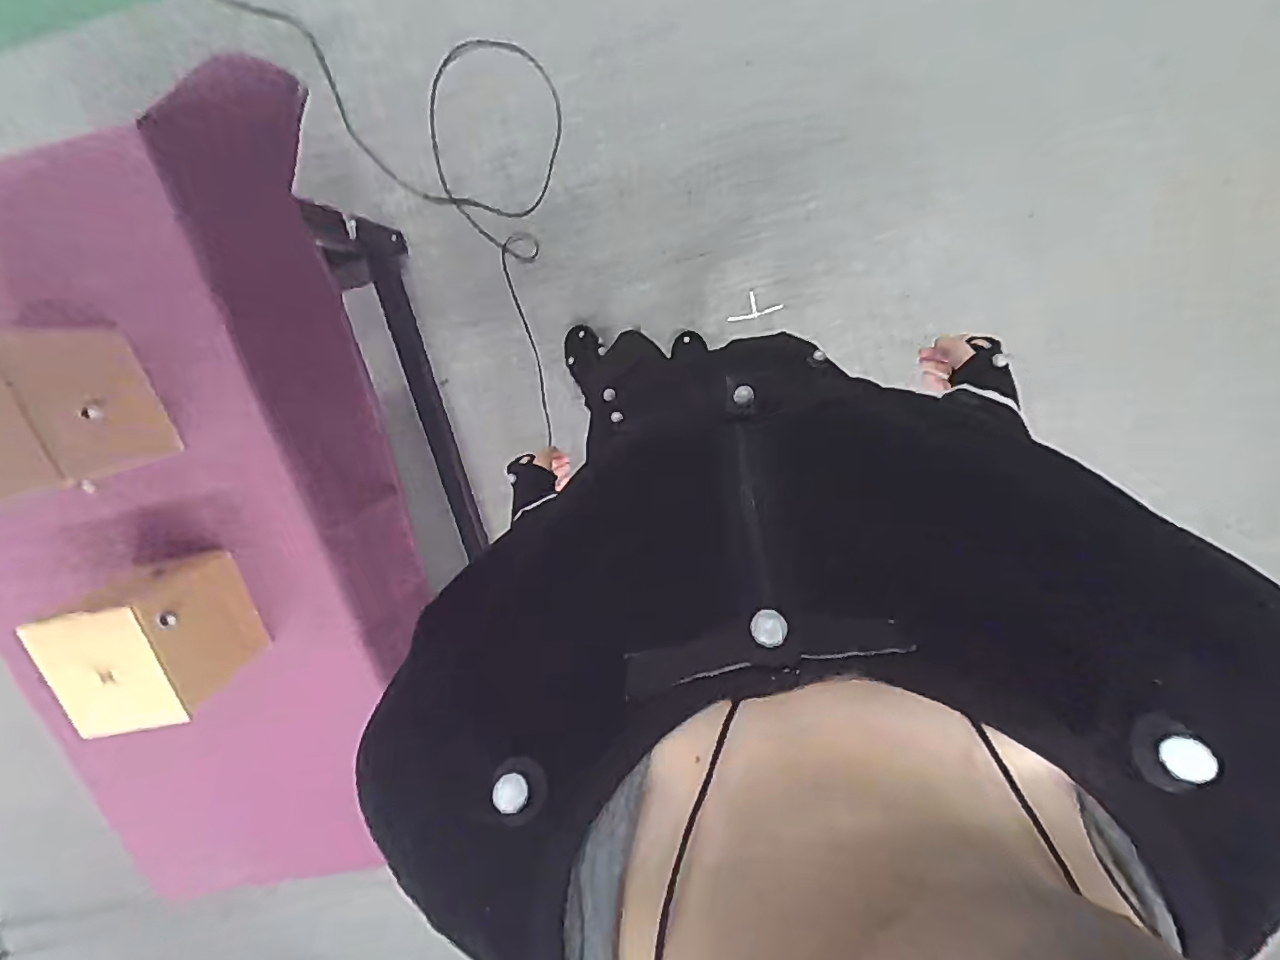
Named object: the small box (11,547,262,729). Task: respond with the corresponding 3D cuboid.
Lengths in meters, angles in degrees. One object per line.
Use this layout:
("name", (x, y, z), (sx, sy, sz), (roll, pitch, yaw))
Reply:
("small box", (-0.689, 0.216, 0.768), (0.168, 0.176, 0.179), (-11, 105, 6))

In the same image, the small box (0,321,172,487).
("small box", (-0.755, -0.091, 0.676), (0.168, 0.176, 0.179), (-14, 106, 6))
